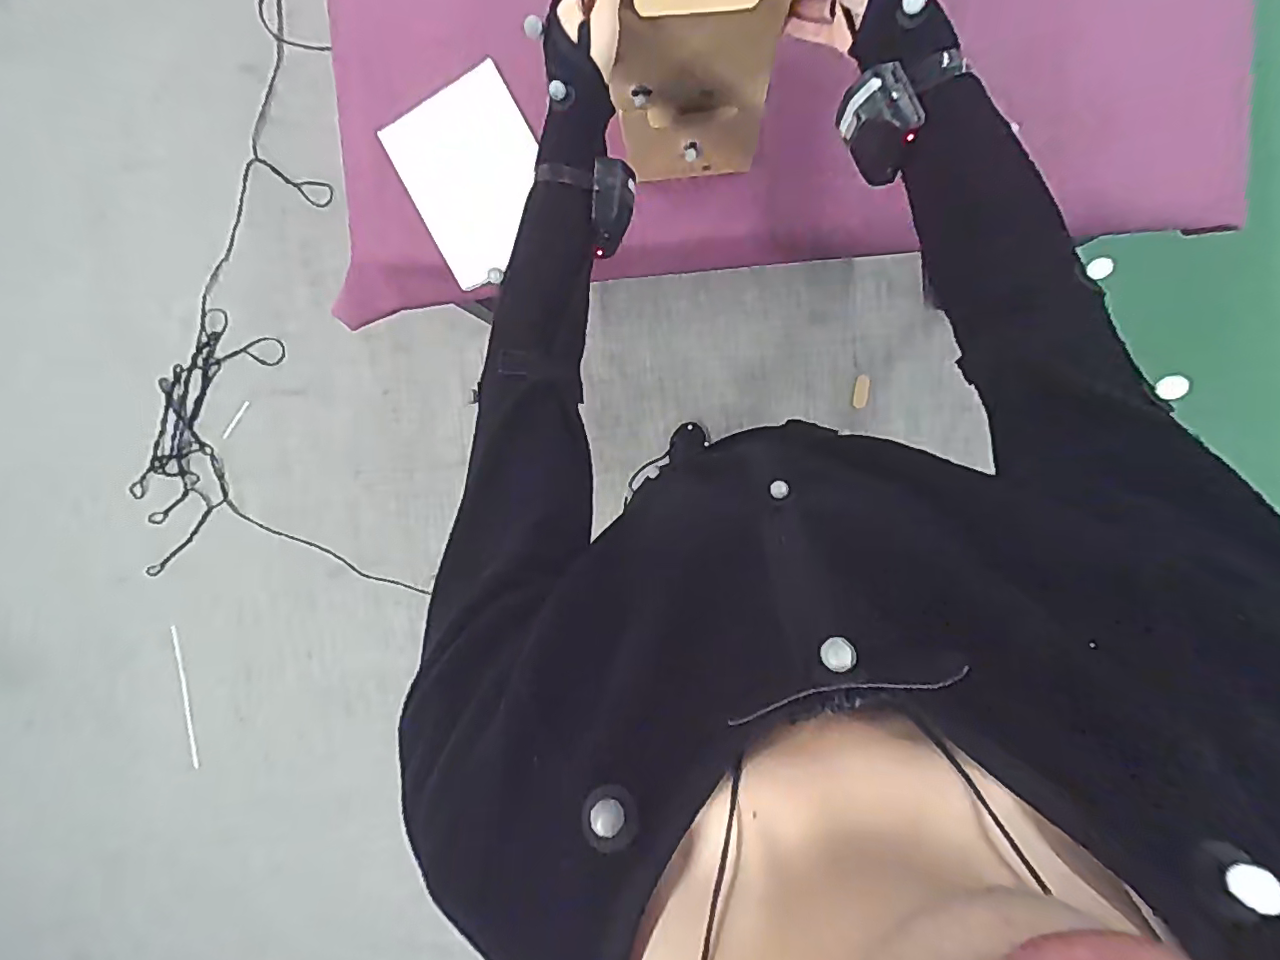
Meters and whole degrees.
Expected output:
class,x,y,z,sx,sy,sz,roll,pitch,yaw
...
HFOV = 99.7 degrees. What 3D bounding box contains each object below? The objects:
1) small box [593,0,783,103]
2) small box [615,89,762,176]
class,x,y,z,sx,sy,sz,roll,pitch,yaw
small box,0.046,-0.487,0.507,0.168,0.176,0.179,-1,94,3
small box,0.059,-0.504,0.675,0.168,0.176,0.179,-3,94,5
